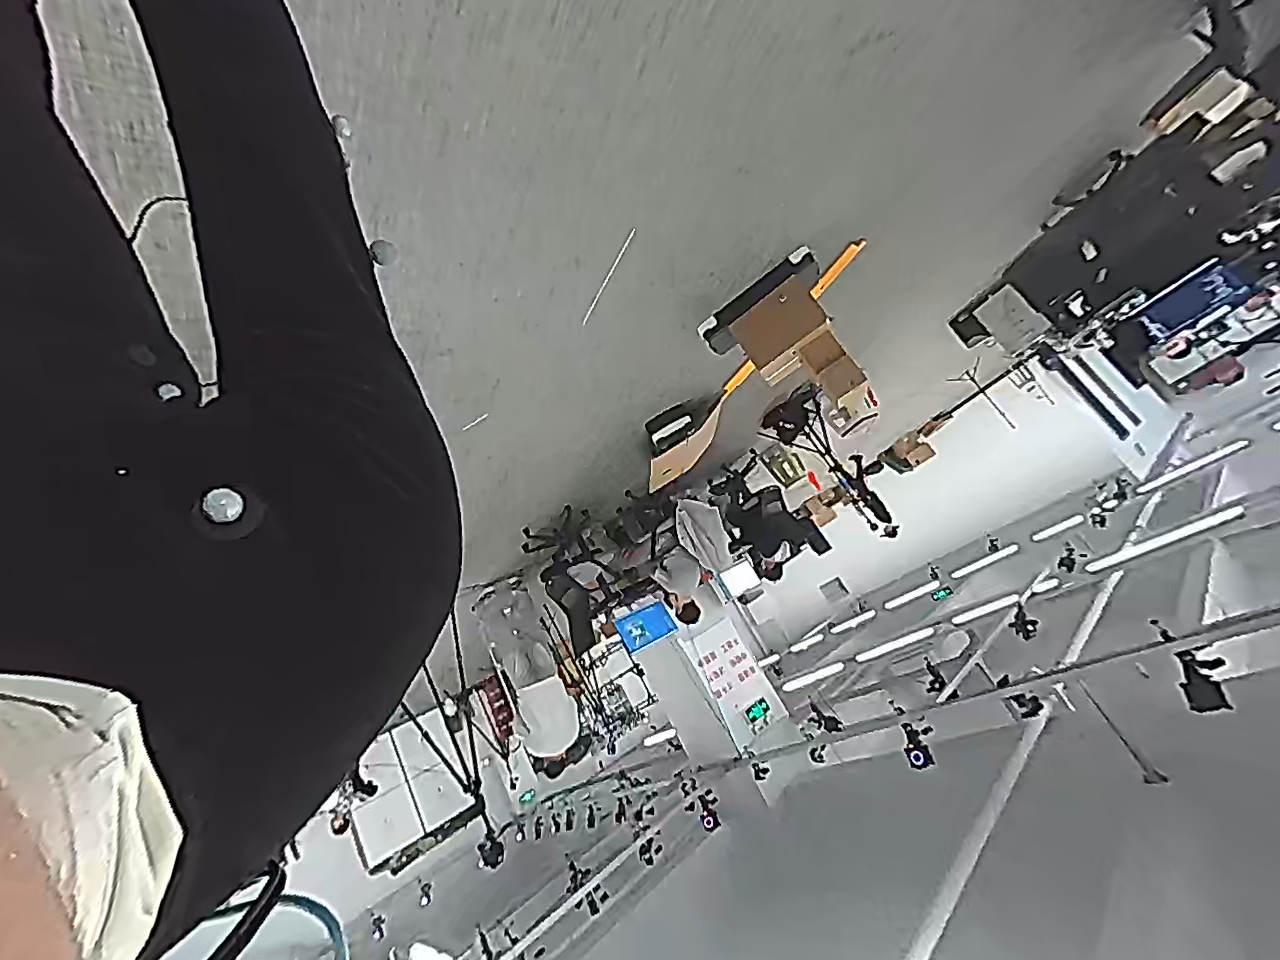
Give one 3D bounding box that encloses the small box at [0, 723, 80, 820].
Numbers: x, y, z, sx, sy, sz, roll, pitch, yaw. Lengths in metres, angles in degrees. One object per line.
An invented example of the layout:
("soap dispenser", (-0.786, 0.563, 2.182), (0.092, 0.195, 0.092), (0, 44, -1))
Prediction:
("small box", (-1.590, 0.737, 1.367), (0.168, 0.176, 0.179), (-22, 162, -27))
